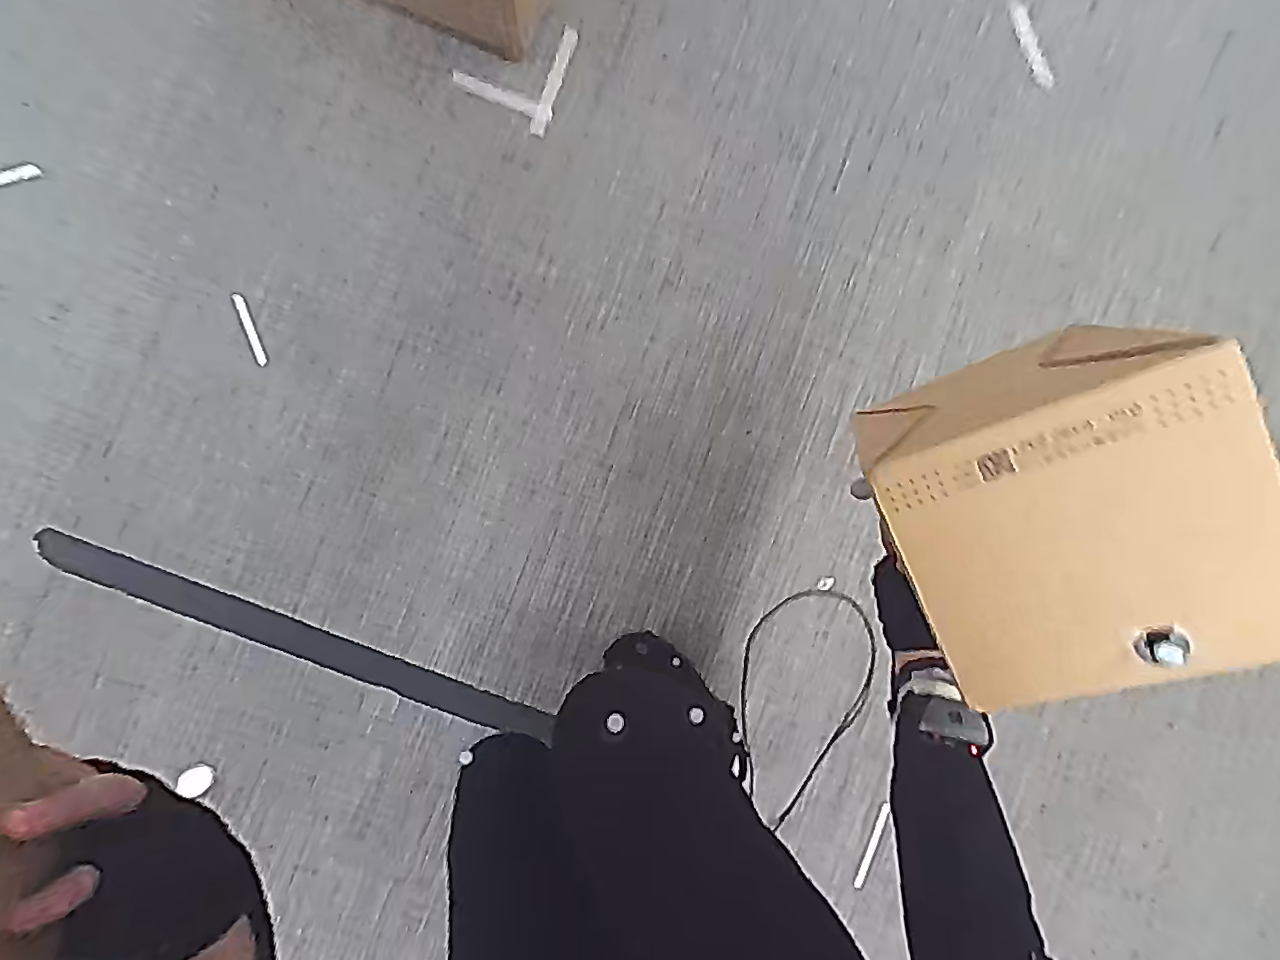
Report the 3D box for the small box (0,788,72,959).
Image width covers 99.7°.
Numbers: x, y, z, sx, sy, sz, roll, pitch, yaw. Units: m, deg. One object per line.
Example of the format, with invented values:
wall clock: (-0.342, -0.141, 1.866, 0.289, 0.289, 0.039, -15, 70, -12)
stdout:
small box: (-0.256, 0.151, 0.092, 0.168, 0.179, 0.176, 0, 132, -28)
